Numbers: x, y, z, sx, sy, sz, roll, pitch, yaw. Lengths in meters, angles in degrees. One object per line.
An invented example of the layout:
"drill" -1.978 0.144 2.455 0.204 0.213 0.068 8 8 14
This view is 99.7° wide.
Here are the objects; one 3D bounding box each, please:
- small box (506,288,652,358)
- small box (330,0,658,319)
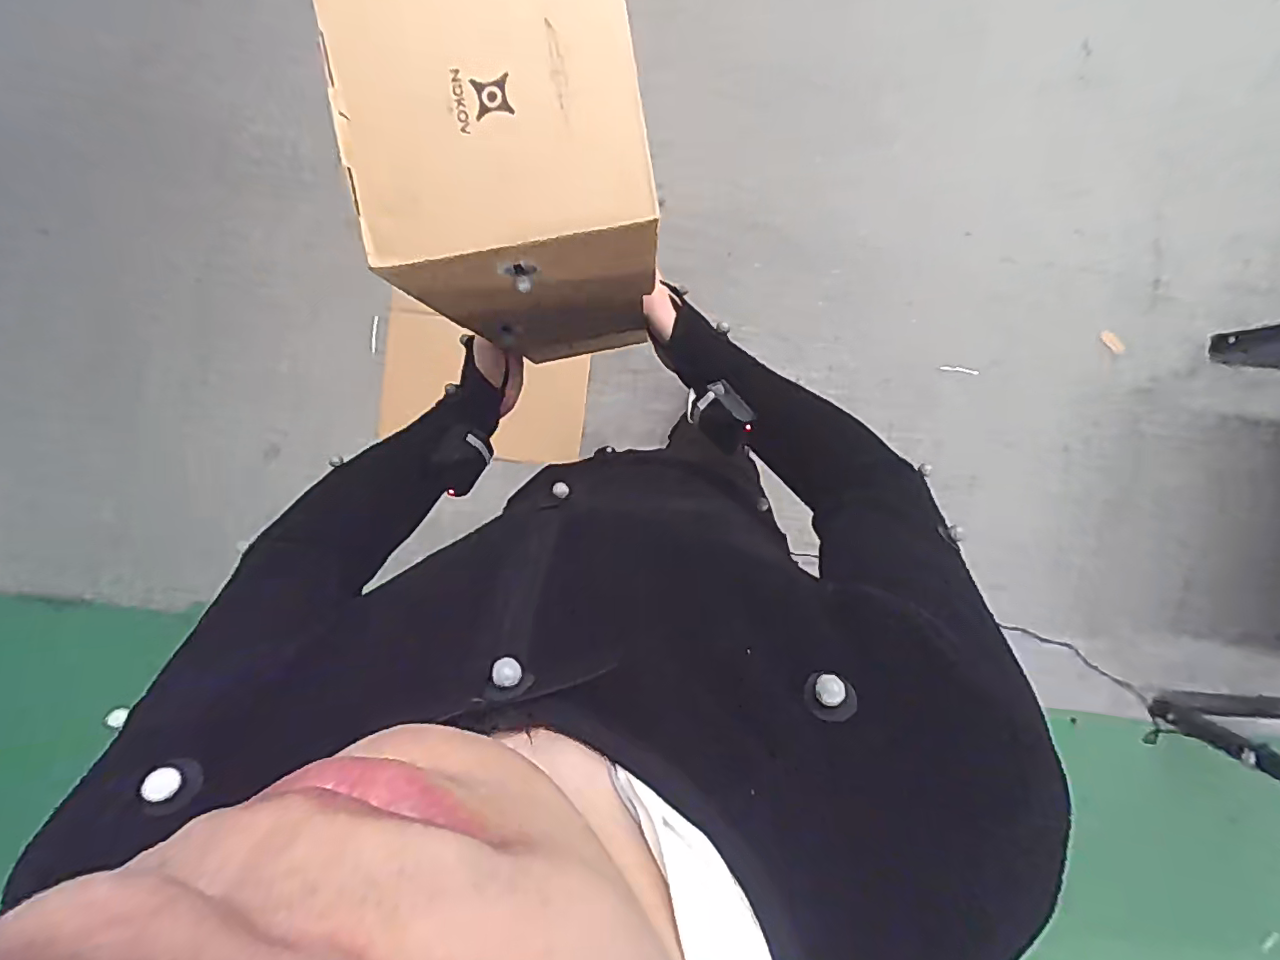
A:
"small box" -0.082 -0.267 0.719 0.179 0.176 0.168 -10 94 1
"small box" -0.082 -0.225 0.394 0.179 0.176 0.168 -8 95 2
